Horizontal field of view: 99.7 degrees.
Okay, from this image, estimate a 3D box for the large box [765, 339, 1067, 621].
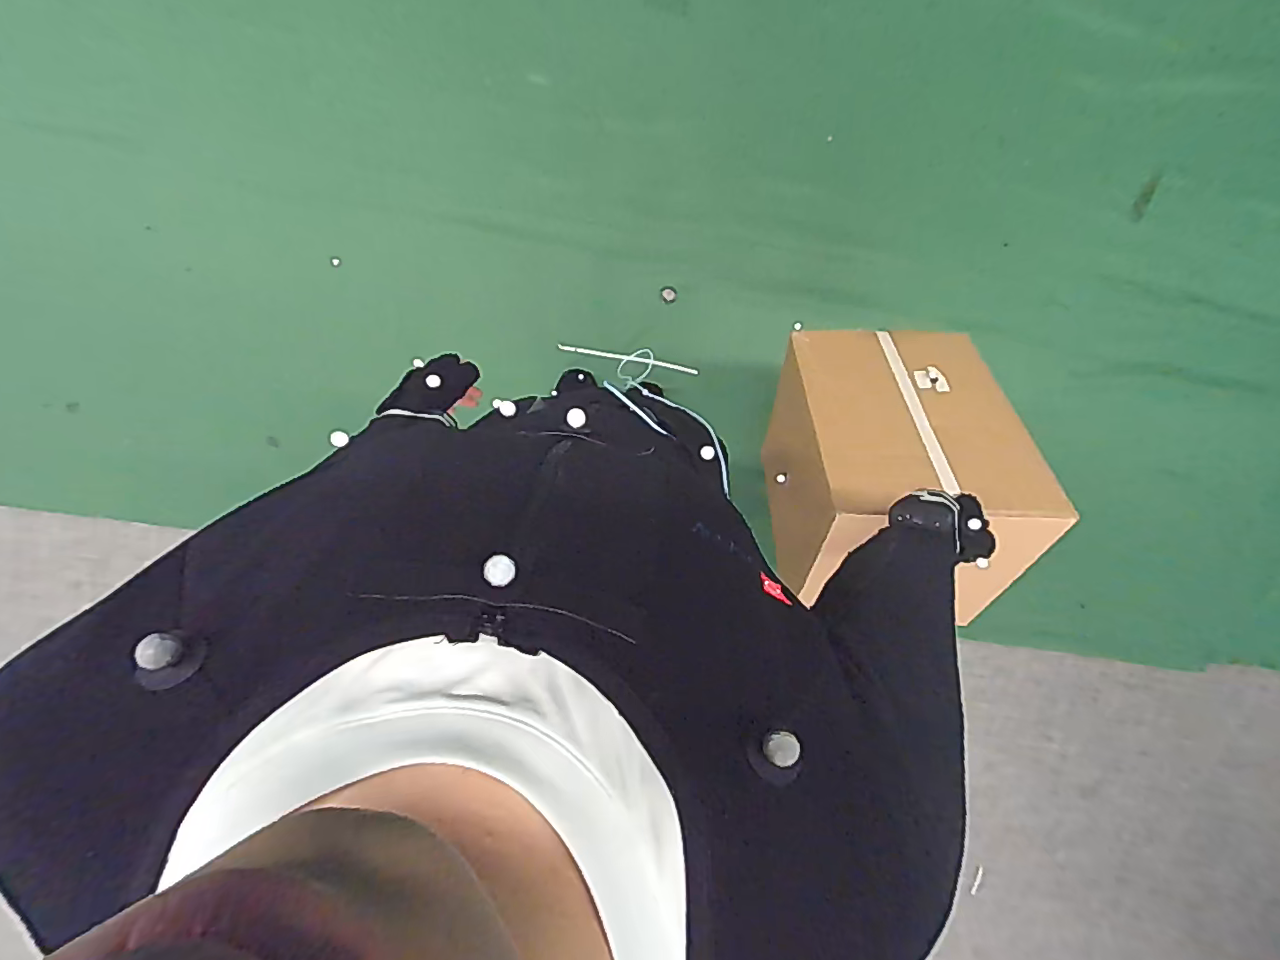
[{"bbox_3d":[0.419,0.000,0.954,0.320,0.408,0.320,2,139,1],"label":"large box"}]
